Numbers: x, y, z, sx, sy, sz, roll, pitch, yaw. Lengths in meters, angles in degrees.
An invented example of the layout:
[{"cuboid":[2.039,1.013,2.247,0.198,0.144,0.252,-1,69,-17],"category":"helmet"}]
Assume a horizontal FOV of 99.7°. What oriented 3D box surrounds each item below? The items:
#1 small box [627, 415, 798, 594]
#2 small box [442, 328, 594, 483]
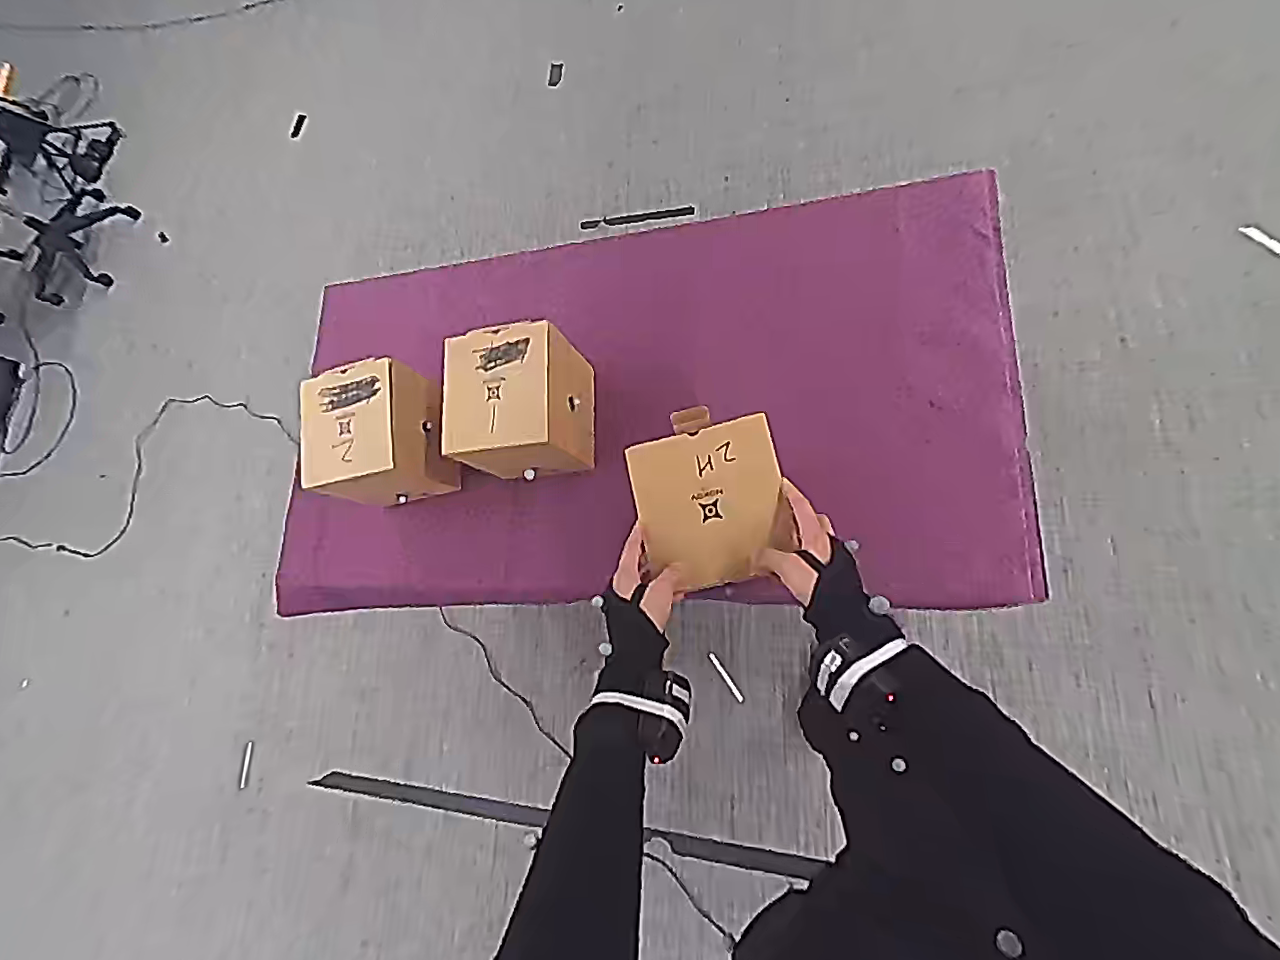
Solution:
[{"cuboid":[0.096,0.040,0.683,0.168,0.176,0.179,-14,76,10],"category":"small box"},{"cuboid":[-0.176,-0.103,0.822,0.168,0.176,0.179,-6,77,16],"category":"small box"}]
